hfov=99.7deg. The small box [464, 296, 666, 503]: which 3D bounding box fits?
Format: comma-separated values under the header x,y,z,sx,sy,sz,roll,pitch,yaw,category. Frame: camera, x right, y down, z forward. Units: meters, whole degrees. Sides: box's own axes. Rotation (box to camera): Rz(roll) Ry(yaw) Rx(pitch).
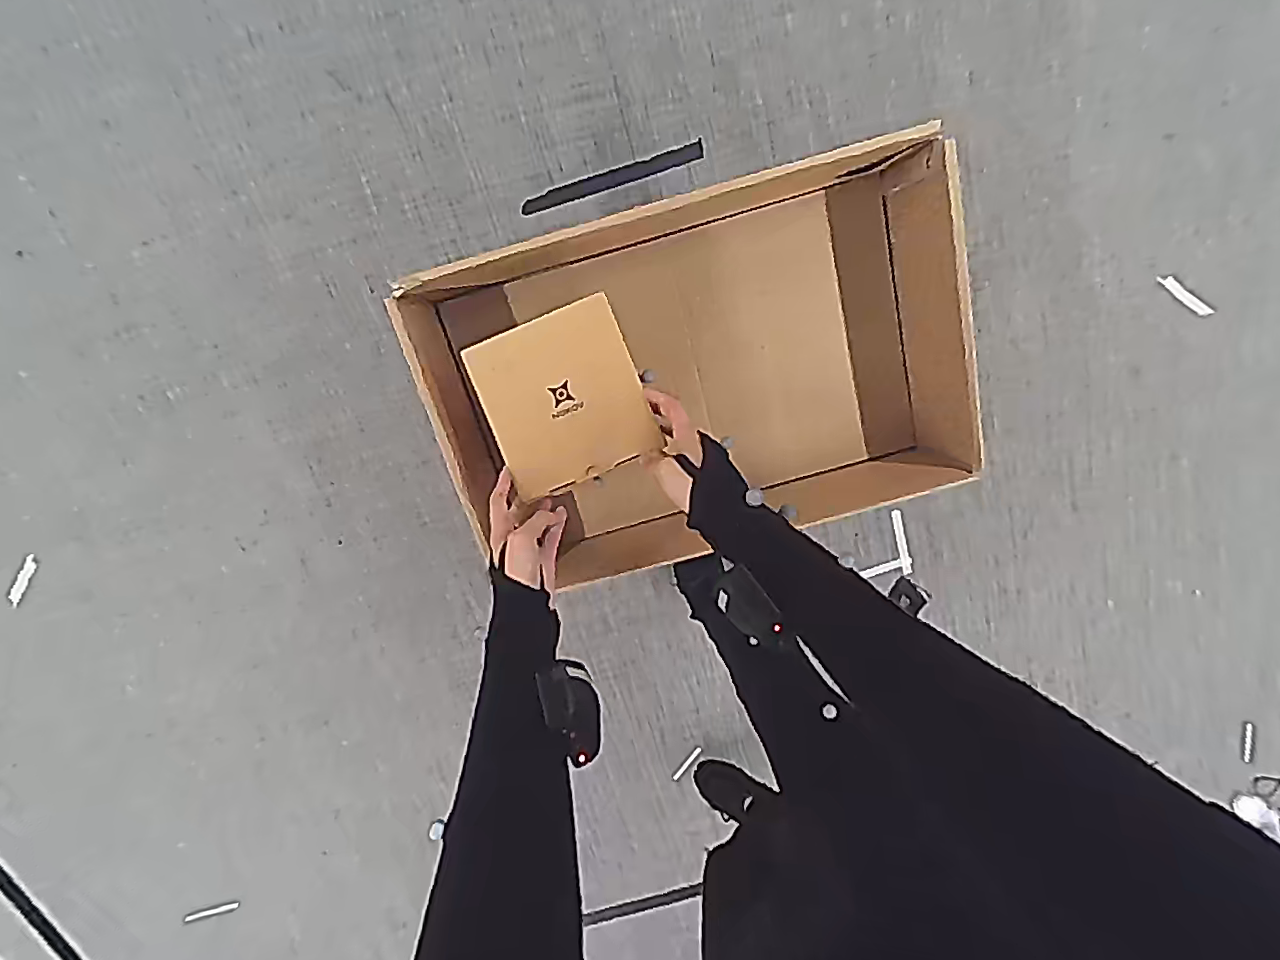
x,y,z,sx,sy,sz,roll,pitch,yaw,category
-0.078,-0.086,0.639,0.168,0.176,0.179,-21,93,2,small box
